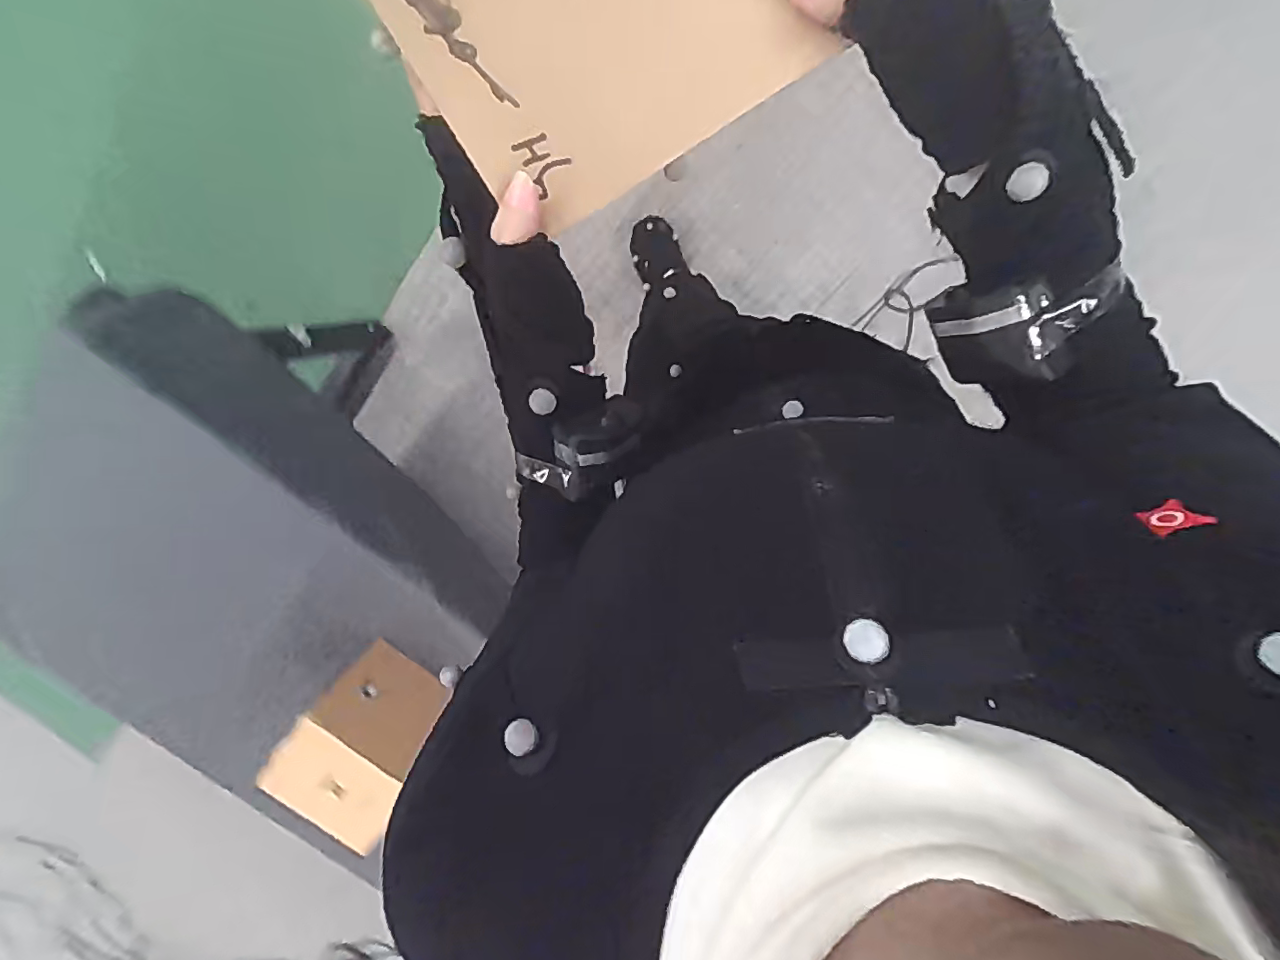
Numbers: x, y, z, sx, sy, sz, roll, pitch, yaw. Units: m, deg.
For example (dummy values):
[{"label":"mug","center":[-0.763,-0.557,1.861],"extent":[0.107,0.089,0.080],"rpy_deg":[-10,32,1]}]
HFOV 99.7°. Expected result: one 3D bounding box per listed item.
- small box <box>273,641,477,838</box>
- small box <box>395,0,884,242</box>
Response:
[{"label":"small box","center":[-0.378,0.367,0.797],"extent":[0.179,0.176,0.168],"rpy_deg":[37,111,-7]},{"label":"small box","center":[-0.014,-0.255,0.276],"extent":[0.179,0.176,0.168],"rpy_deg":[-28,118,15]}]
